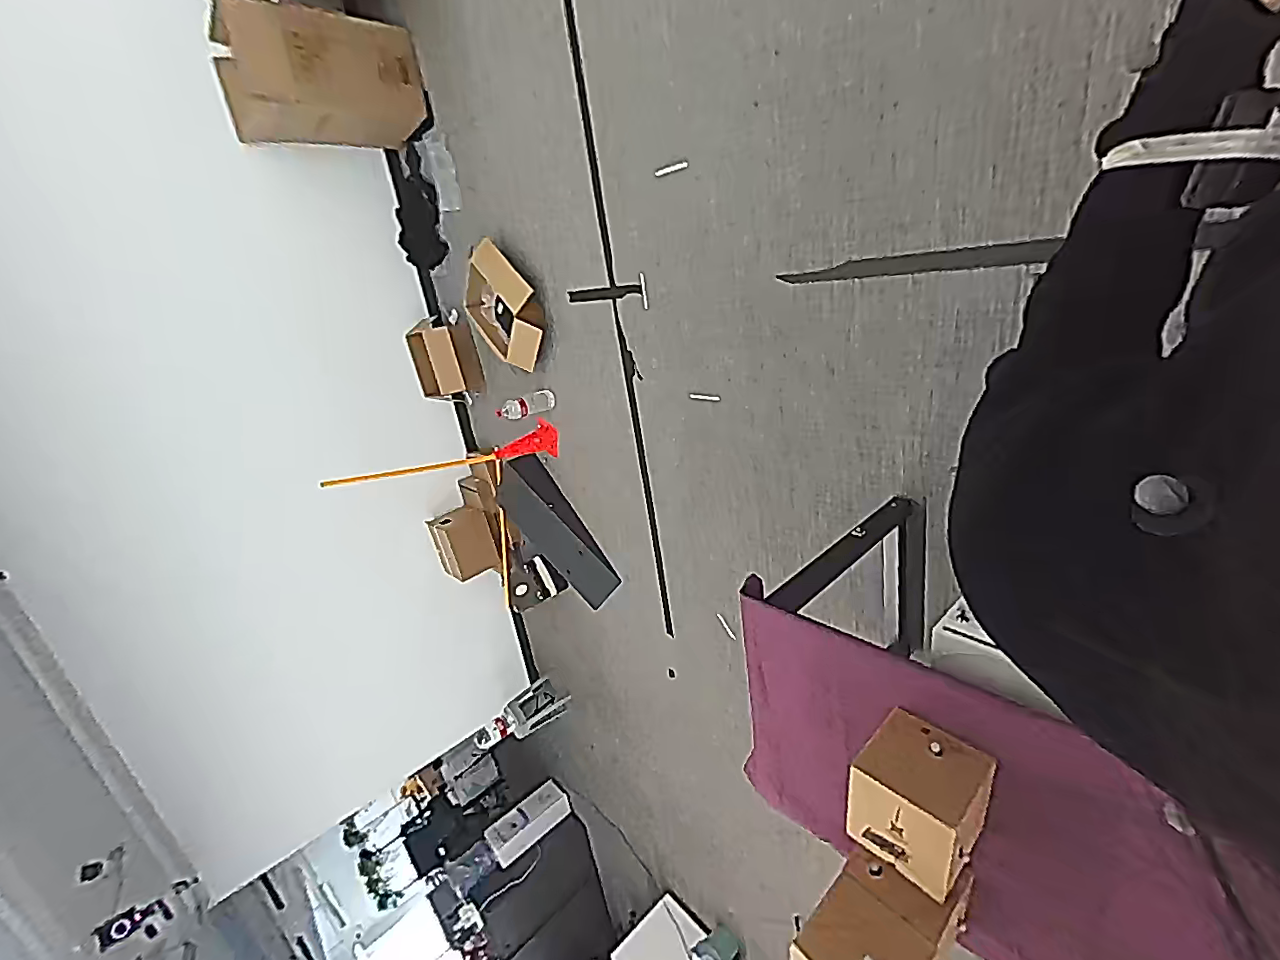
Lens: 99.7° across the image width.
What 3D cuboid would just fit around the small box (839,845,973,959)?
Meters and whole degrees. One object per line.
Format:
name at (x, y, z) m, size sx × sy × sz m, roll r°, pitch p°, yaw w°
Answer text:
small box at (0.498, 0.800, 1.029) m, size 0.179 × 0.176 × 0.168 m, roll 20°, pitch 124°, yaw 45°

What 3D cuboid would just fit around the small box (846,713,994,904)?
small box at (0.471, 0.542, 0.915) m, size 0.168 × 0.176 × 0.179 m, roll 19°, pitch 125°, yaw 45°

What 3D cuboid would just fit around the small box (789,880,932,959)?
small box at (0.377, 0.856, 0.934) m, size 0.179 × 0.176 × 0.168 m, roll 21°, pitch 124°, yaw 44°
